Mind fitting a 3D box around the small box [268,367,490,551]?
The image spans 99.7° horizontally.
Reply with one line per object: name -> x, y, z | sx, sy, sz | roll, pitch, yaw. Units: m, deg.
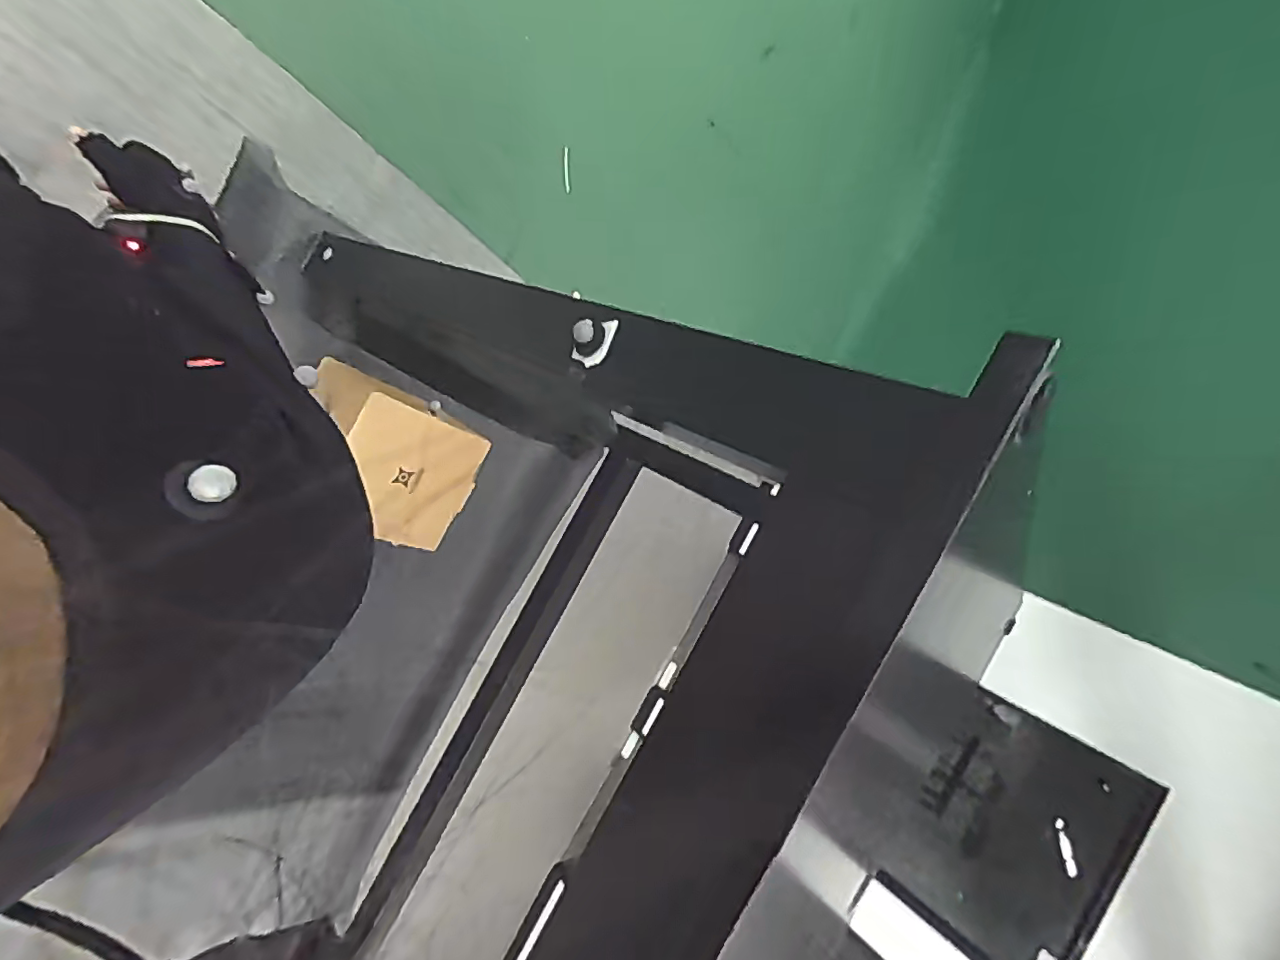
small box -> -0.340, -0.031, 0.701 | 0.179, 0.176, 0.168 | 28, 90, -53
